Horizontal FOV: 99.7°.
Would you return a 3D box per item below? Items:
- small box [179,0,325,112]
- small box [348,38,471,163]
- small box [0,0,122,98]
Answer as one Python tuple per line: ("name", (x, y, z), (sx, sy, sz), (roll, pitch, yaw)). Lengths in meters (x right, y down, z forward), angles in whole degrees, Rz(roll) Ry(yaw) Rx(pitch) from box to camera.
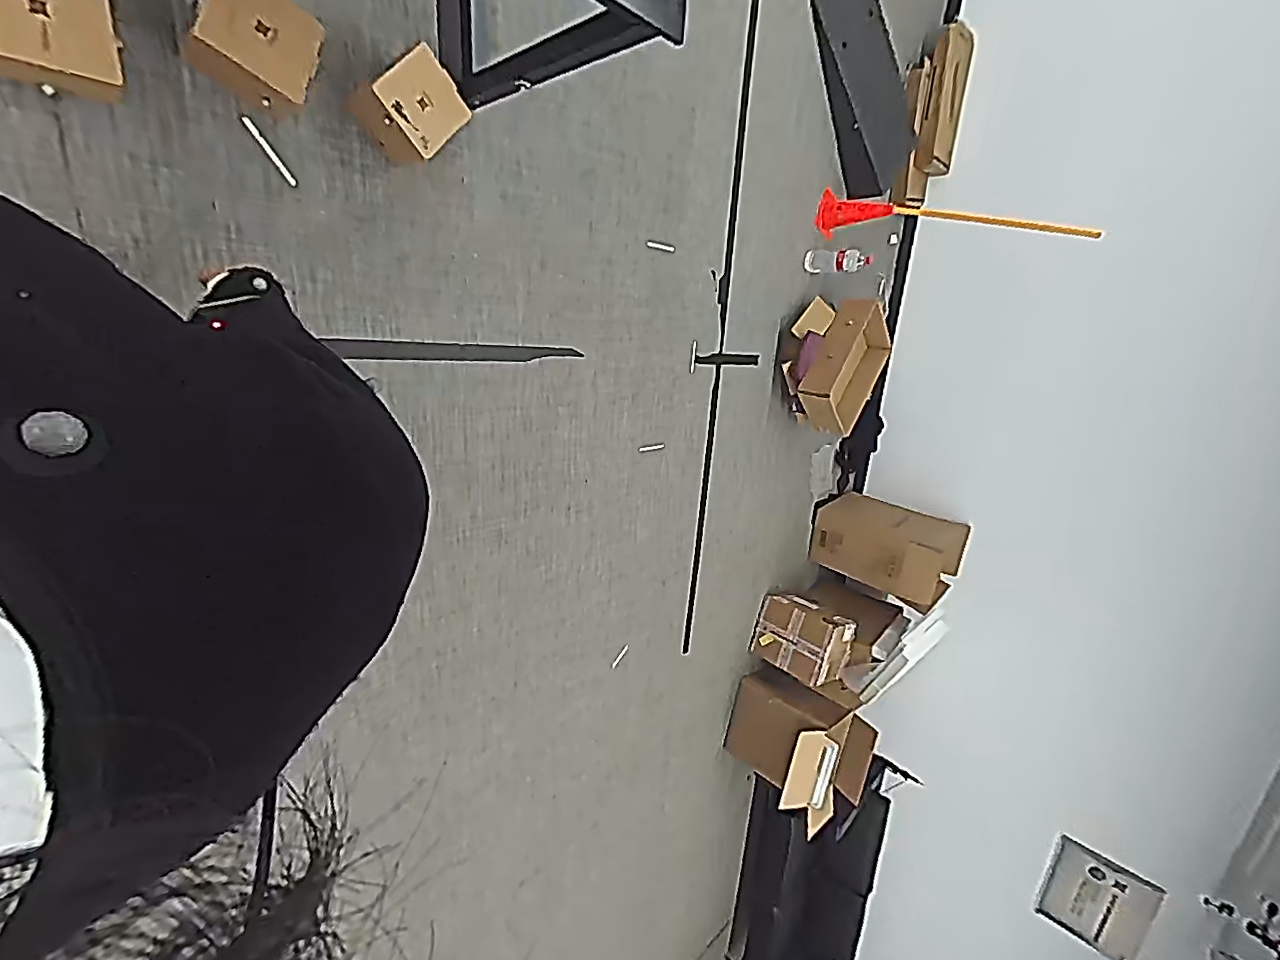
("small box", (-0.753, -0.855, 1.050), (0.179, 0.176, 0.168), (17, 91, -48))
("small box", (-0.542, -0.880, 1.267), (0.179, 0.176, 0.168), (-56, 137, -16))
("small box", (-0.962, -0.746, 0.862), (0.168, 0.176, 0.179), (-14, 116, -44))
